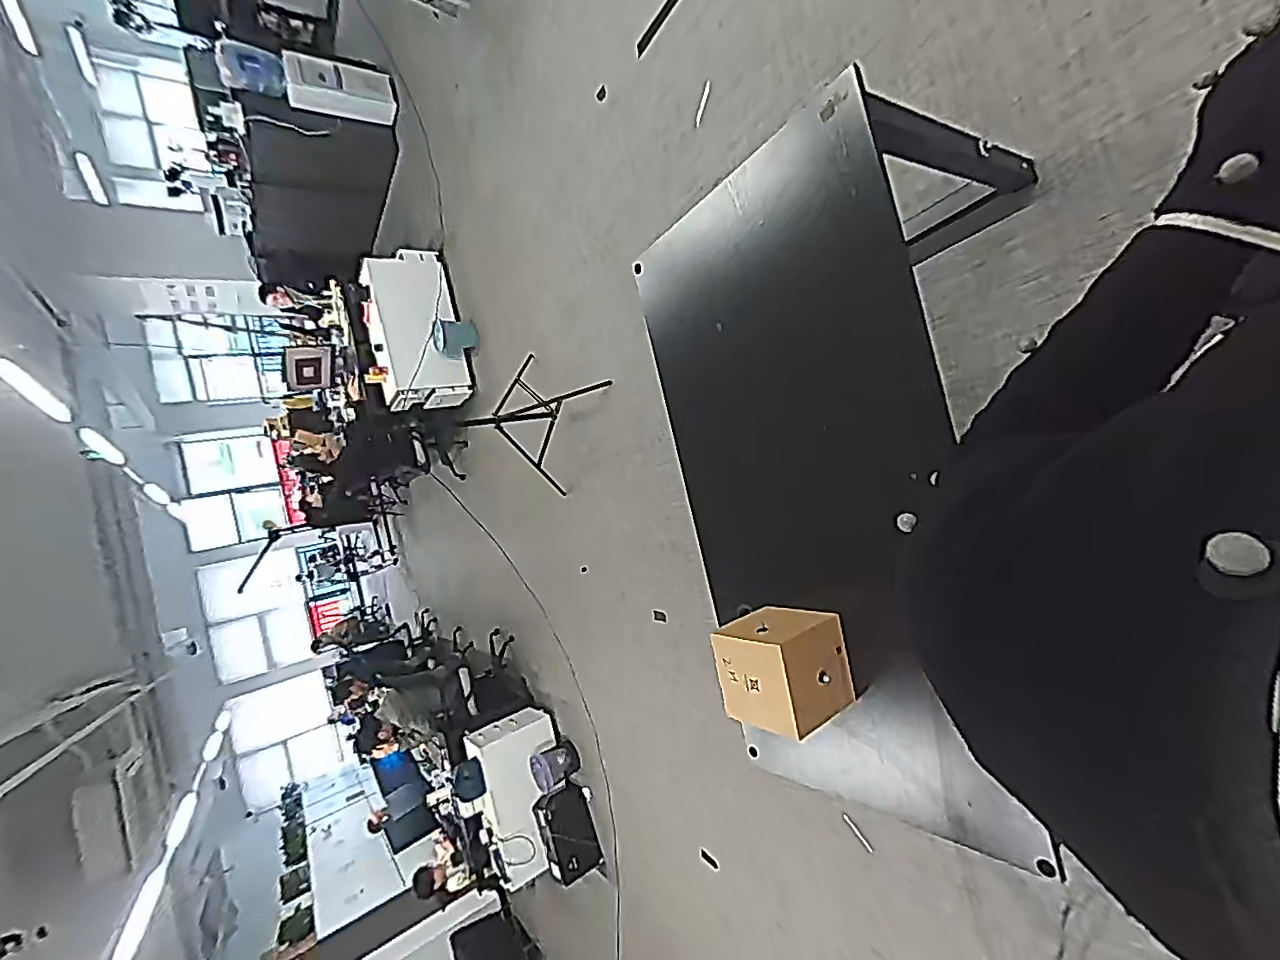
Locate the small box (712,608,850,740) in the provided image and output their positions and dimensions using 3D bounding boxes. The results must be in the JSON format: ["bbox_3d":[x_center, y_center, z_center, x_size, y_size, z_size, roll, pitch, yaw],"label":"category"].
[{"bbox_3d":[0.265,0.343,0.998,0.179,0.176,0.168,-11,90,56],"label":"small box"}]
